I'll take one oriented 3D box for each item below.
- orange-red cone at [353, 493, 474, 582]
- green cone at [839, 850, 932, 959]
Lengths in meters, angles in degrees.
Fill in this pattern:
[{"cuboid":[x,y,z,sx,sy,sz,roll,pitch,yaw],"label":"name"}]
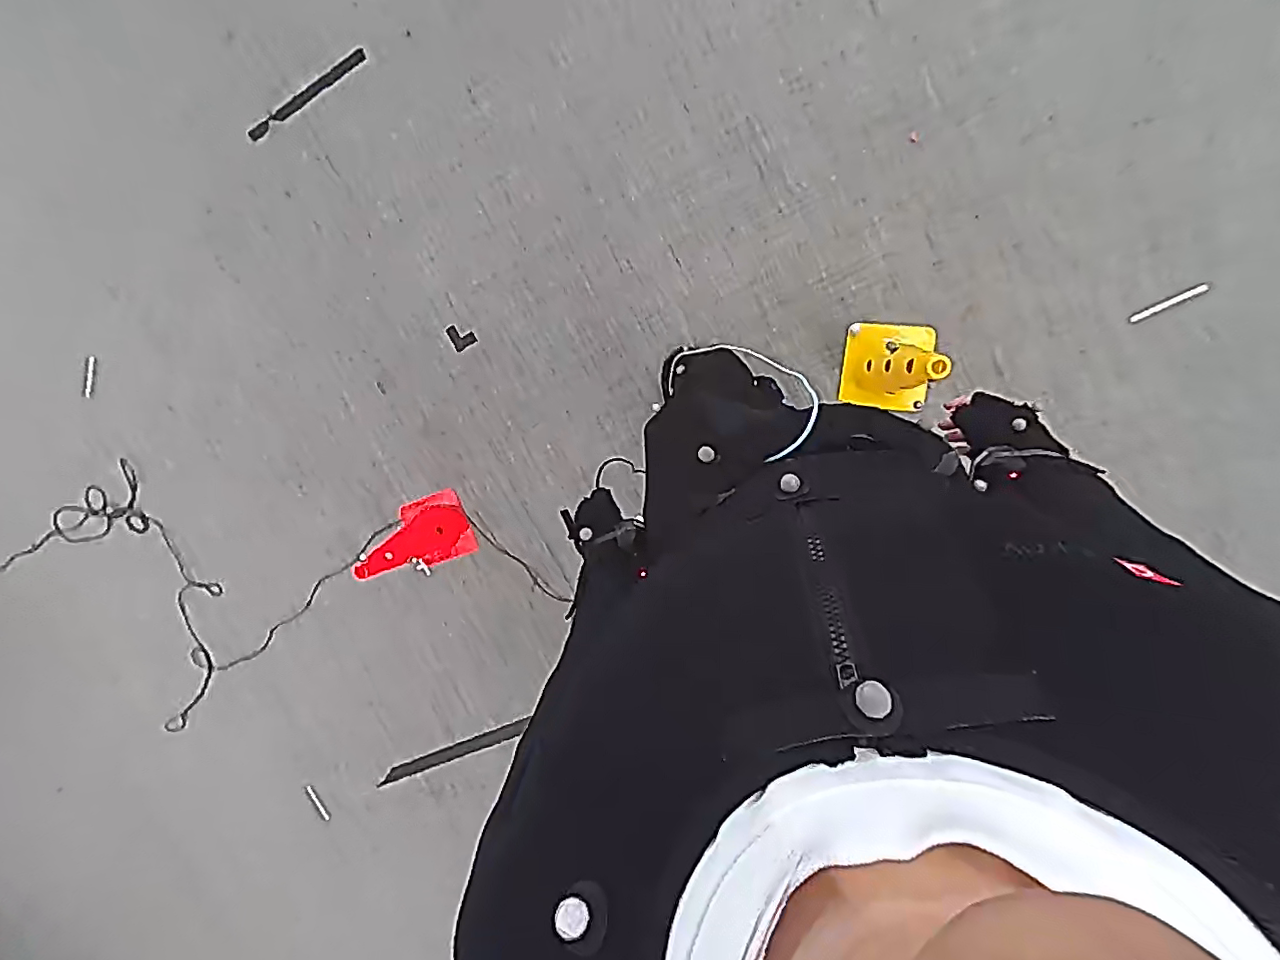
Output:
[{"cuboid":[-0.630,0.185,1.436,0.199,0.360,0.198,-19,99,12],"label":"orange-red cone"},{"cuboid":[0.694,1.234,1.433,0.202,0.368,0.200,-42,92,16],"label":"green cone"}]
